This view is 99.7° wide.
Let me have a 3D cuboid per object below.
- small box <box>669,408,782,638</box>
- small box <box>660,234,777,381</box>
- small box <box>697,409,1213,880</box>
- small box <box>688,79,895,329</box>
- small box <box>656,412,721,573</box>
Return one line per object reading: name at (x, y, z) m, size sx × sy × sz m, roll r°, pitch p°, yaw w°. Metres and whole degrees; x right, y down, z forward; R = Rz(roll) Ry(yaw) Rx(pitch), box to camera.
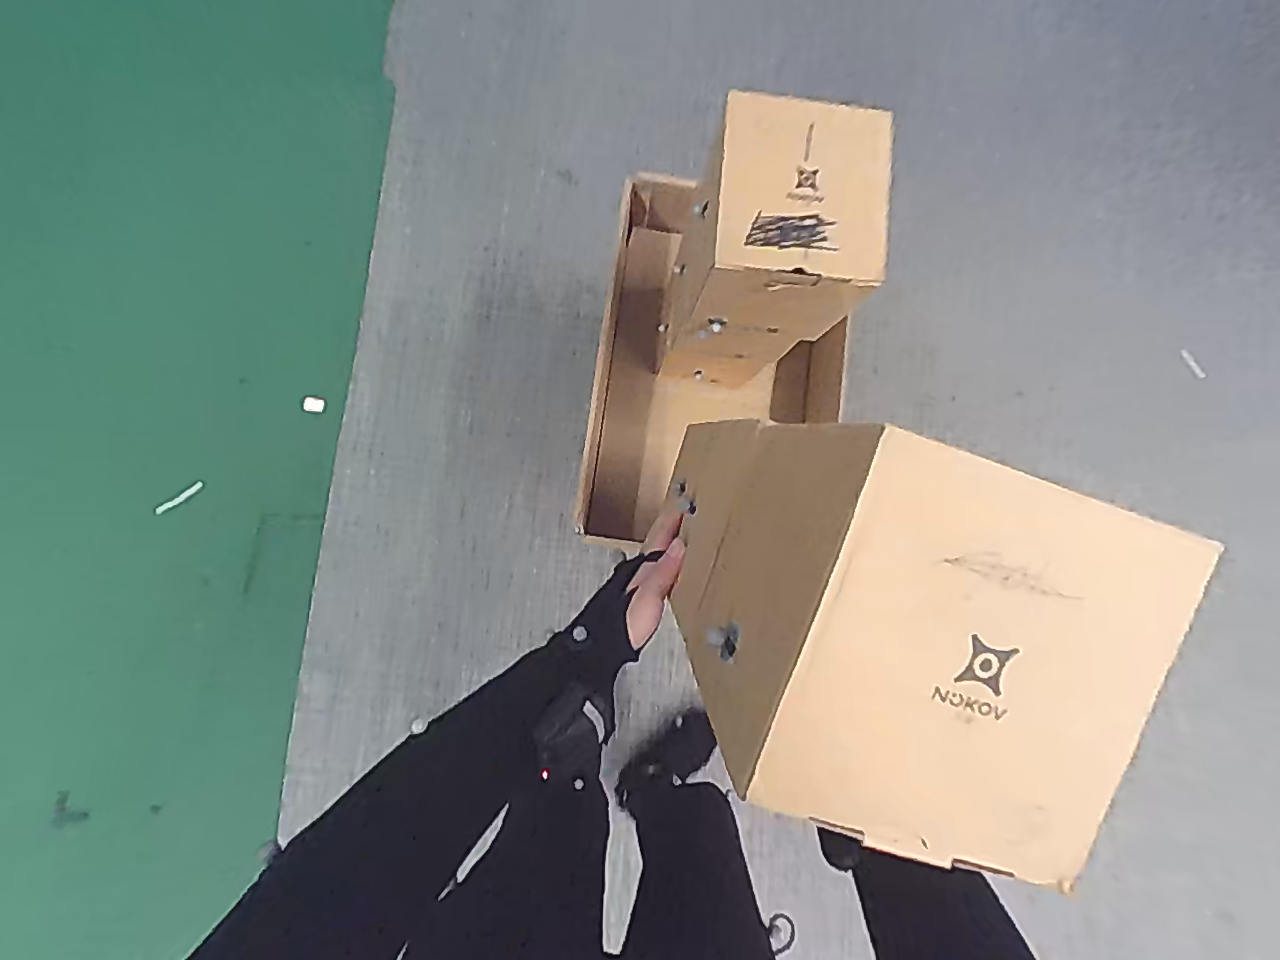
small box at (0.129, 0.045, 0.475) m, size 0.168 × 0.176 × 0.179 m, roll 17°, pitch 95°, yaw -5°
small box at (0.129, -0.280, 0.911) m, size 0.168 × 0.176 × 0.179 m, roll 7°, pitch 87°, yaw -3°
small box at (0.140, 0.068, 0.314) m, size 0.168 × 0.176 × 0.179 m, roll 18°, pitch 95°, yaw -5°
small box at (0.148, -0.276, 0.582) m, size 0.168 × 0.176 × 0.179 m, roll 5°, pitch 86°, yaw -3°
small box at (0.121, 0.028, 0.638) m, size 0.168 × 0.176 × 0.179 m, roll 17°, pitch 95°, yaw -4°
